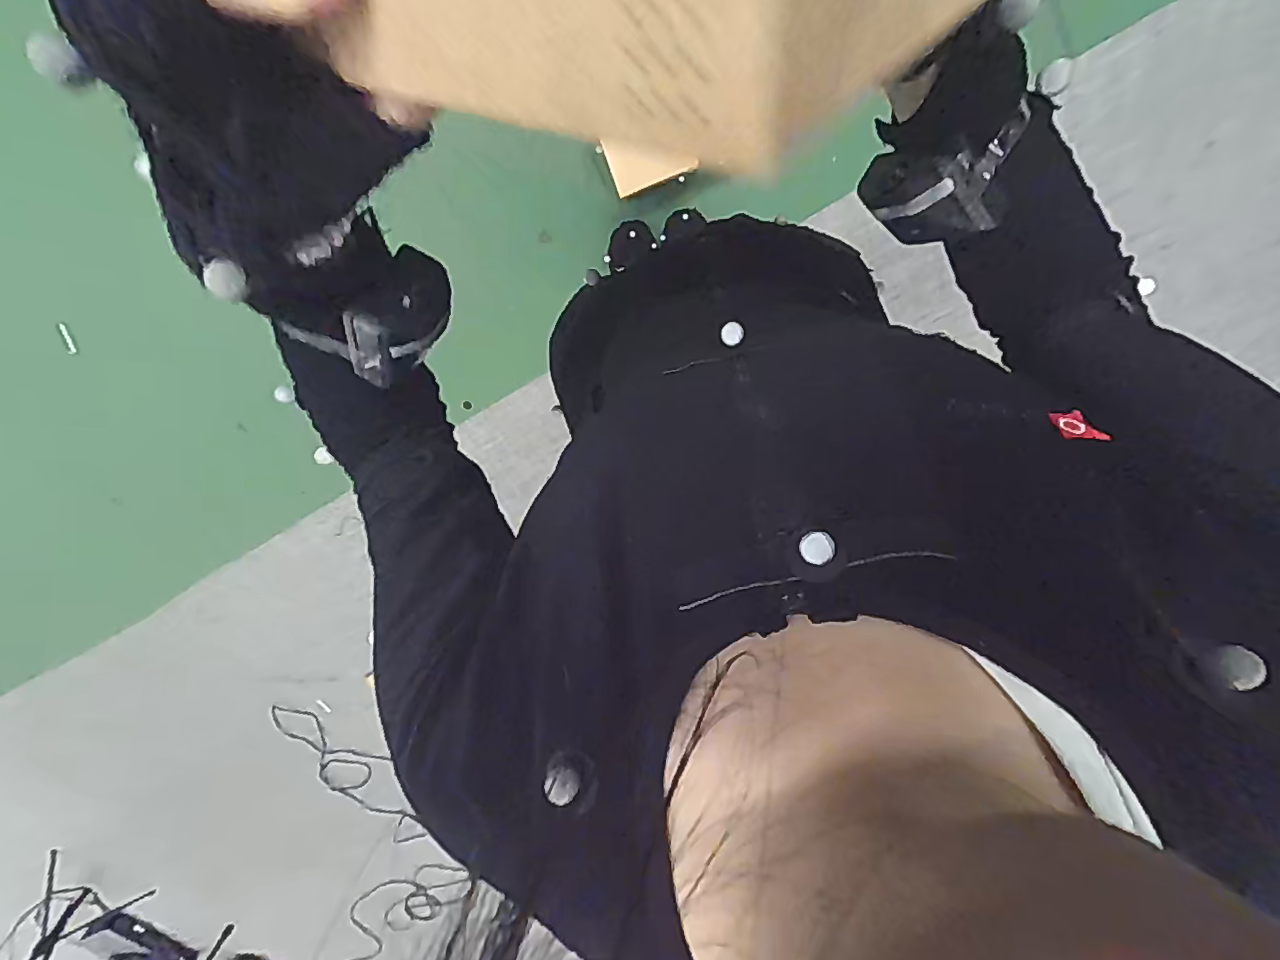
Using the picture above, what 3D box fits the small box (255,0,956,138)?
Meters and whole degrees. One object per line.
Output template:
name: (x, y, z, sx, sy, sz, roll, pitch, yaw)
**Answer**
small box: (0.002, -0.191, 0.098, 0.176, 0.179, 0.168, 29, 155, 24)
